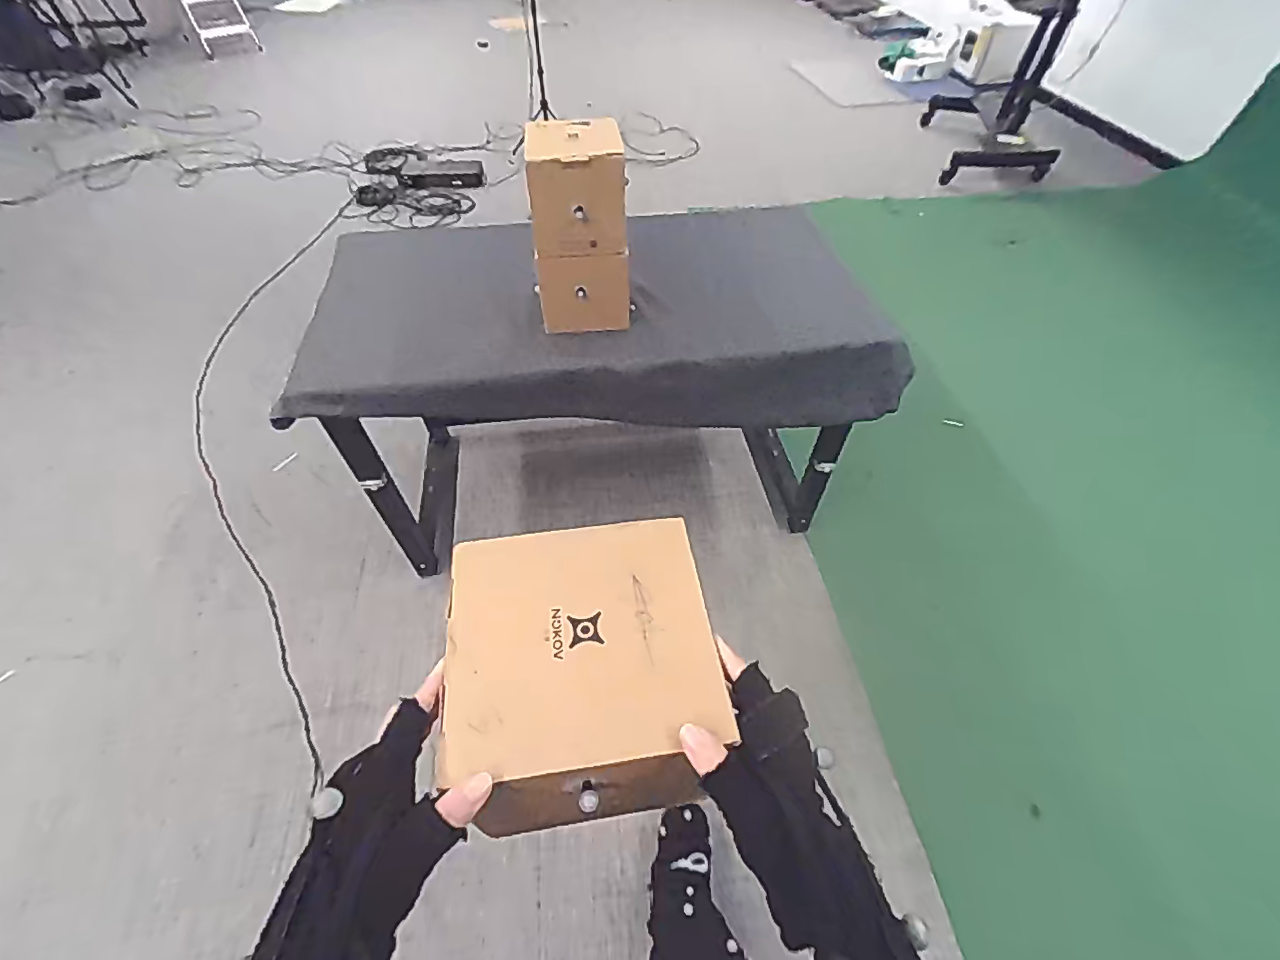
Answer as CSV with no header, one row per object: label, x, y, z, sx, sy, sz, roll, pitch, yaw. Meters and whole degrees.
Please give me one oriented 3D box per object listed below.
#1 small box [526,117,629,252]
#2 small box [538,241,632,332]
small box,-0.110,-0.532,0.986,0.168,0.176,0.179,-5,51,-4
small box,-0.109,-0.423,1.107,0.179,0.176,0.168,-5,51,-3
